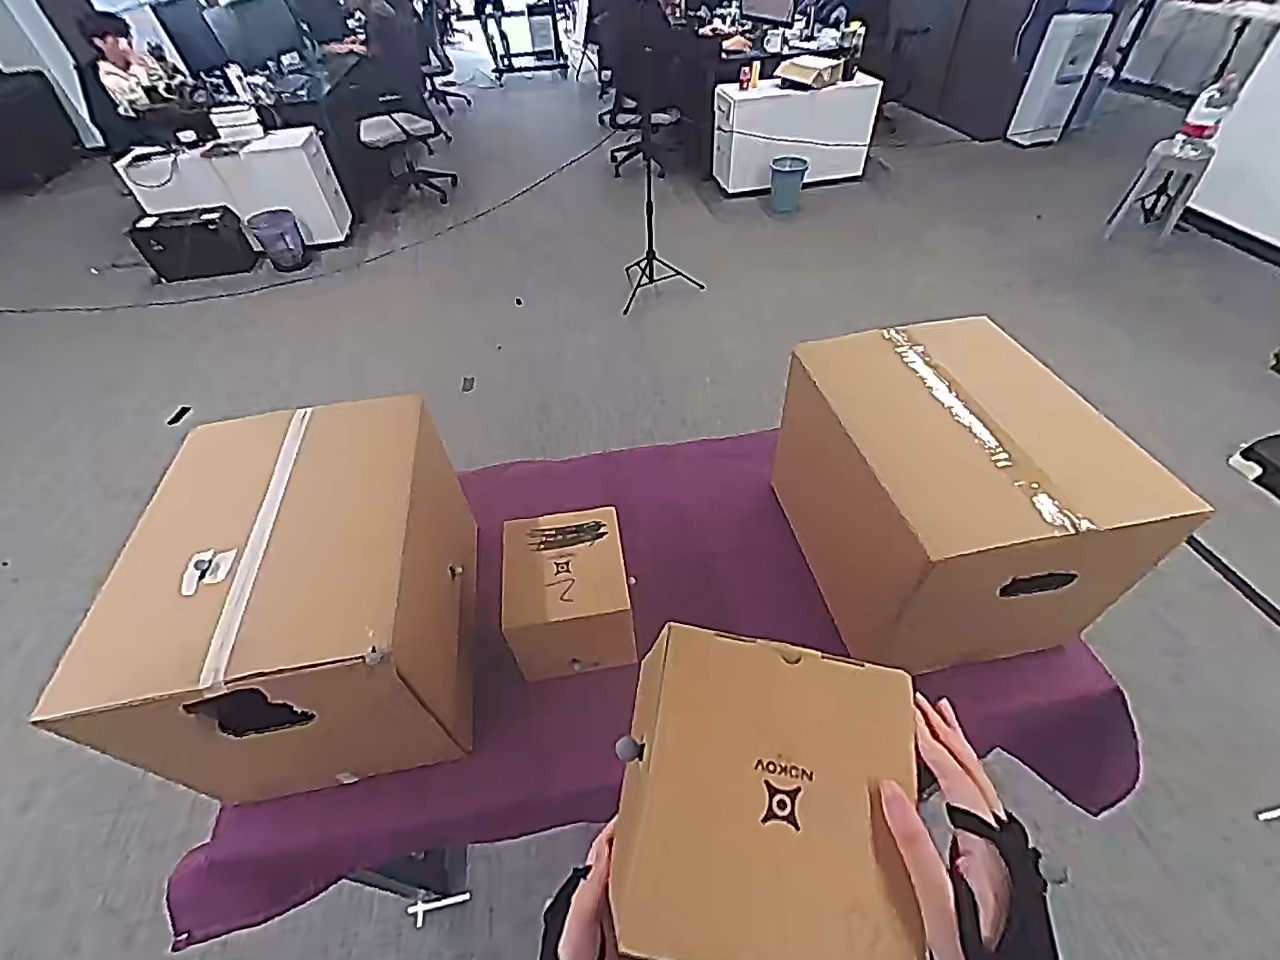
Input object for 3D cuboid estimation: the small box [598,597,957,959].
[{"bbox_3d":[0.086,0.193,0.362,0.179,0.176,0.168,-2,41,13],"label":"small box"}]
